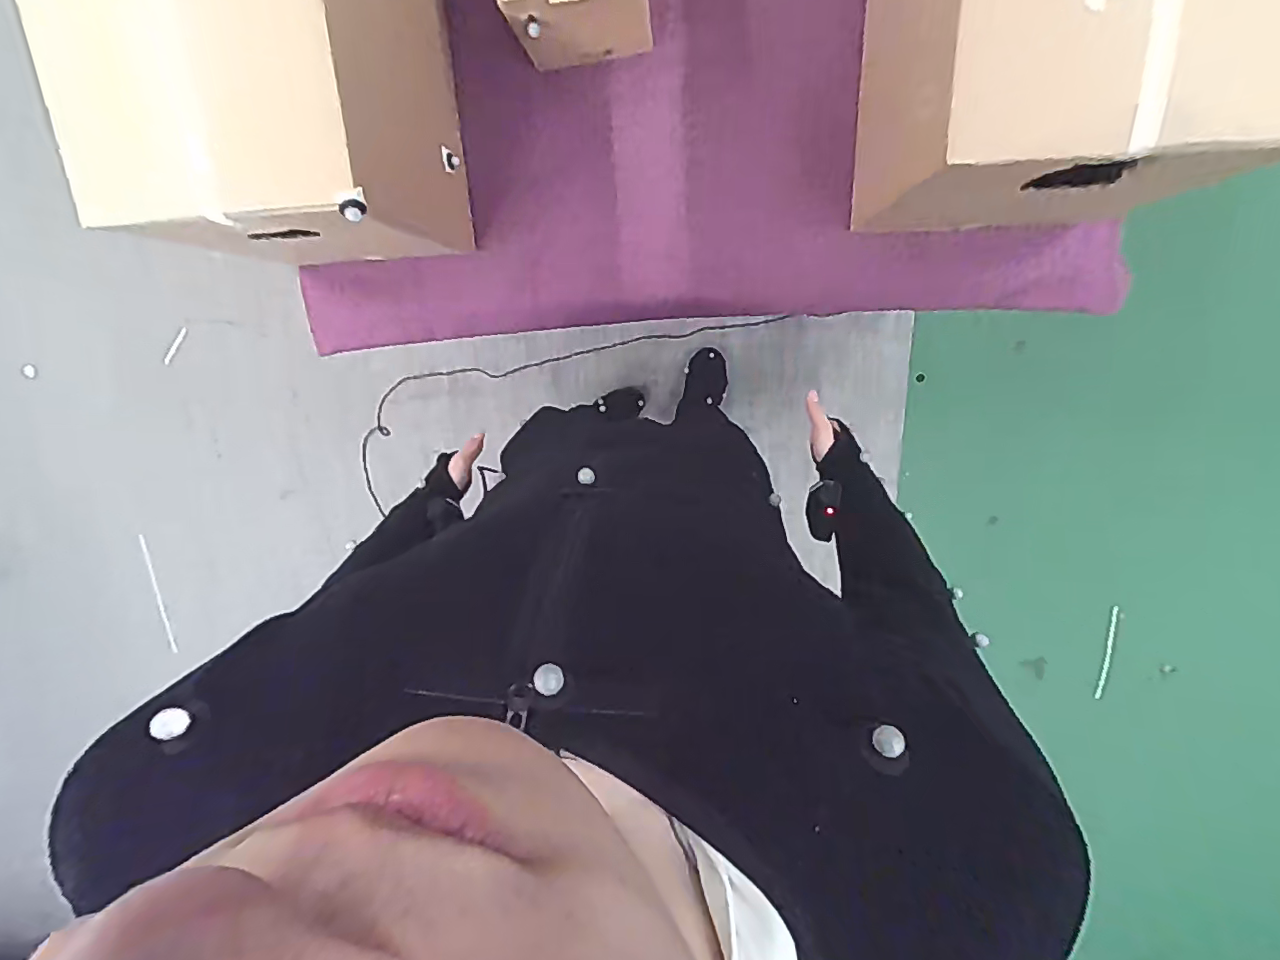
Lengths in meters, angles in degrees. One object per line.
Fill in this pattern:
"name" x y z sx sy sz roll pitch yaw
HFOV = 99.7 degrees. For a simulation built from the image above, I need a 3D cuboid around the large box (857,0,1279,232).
"large box" 0.435 -0.510 0.566 0.320 0.320 0.408 -1 105 7
